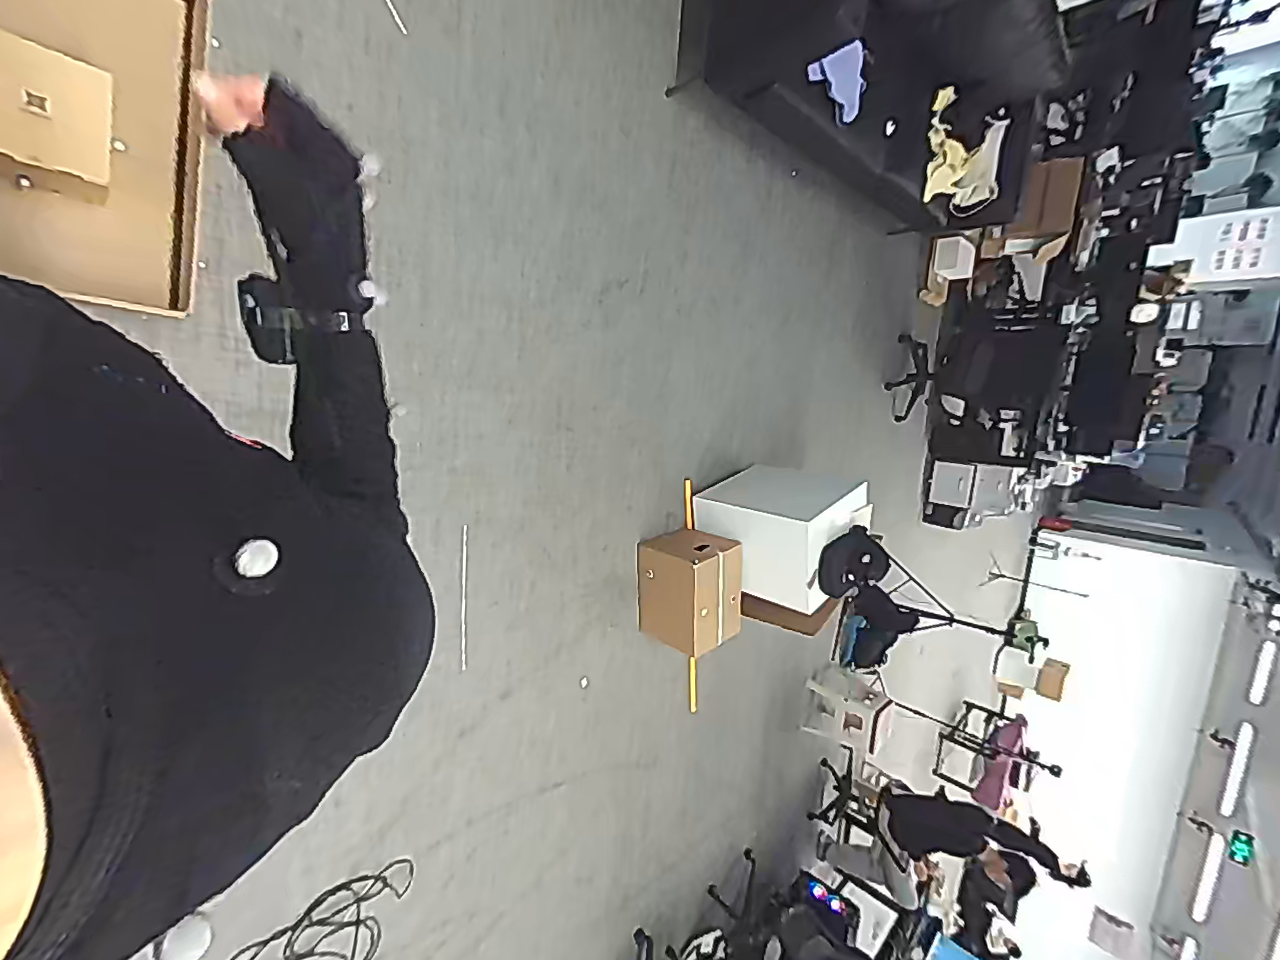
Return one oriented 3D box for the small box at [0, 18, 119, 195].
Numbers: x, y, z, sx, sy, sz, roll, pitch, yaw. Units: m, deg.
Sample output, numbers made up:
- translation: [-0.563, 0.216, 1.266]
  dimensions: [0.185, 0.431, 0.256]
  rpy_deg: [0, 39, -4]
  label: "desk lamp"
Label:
- translation: [-0.960, -0.591, 0.868]
  dimensions: [0.168, 0.176, 0.179]
  rpy_deg: [1, 98, -47]
  label: "small box"
